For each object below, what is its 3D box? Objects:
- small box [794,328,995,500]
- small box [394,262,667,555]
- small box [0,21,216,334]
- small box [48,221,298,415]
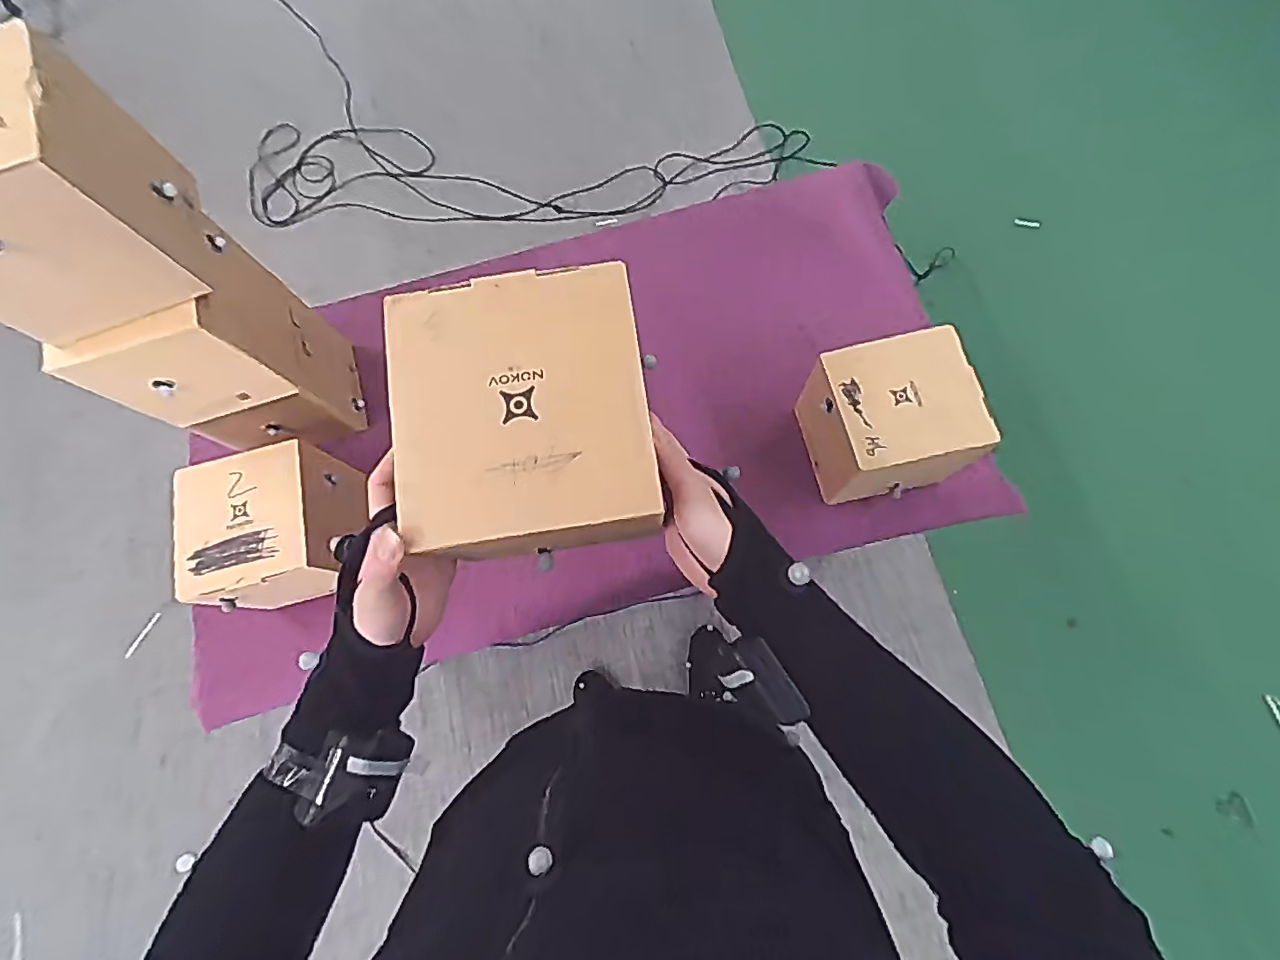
[{"bbox_3d":[0.333,-0.081,0.747,0.179,0.176,0.168,-12,73,0],"label":"small box"},{"bbox_3d":[-0.074,-0.040,0.429,0.168,0.176,0.179,-8,80,0],"label":"small box"},{"bbox_3d":[-0.558,-0.266,0.511,0.179,0.176,0.168,-21,75,-3],"label":"small box"},{"bbox_3d":[-0.553,-0.195,0.661,0.168,0.176,0.179,-18,74,-2],"label":"small box"}]
